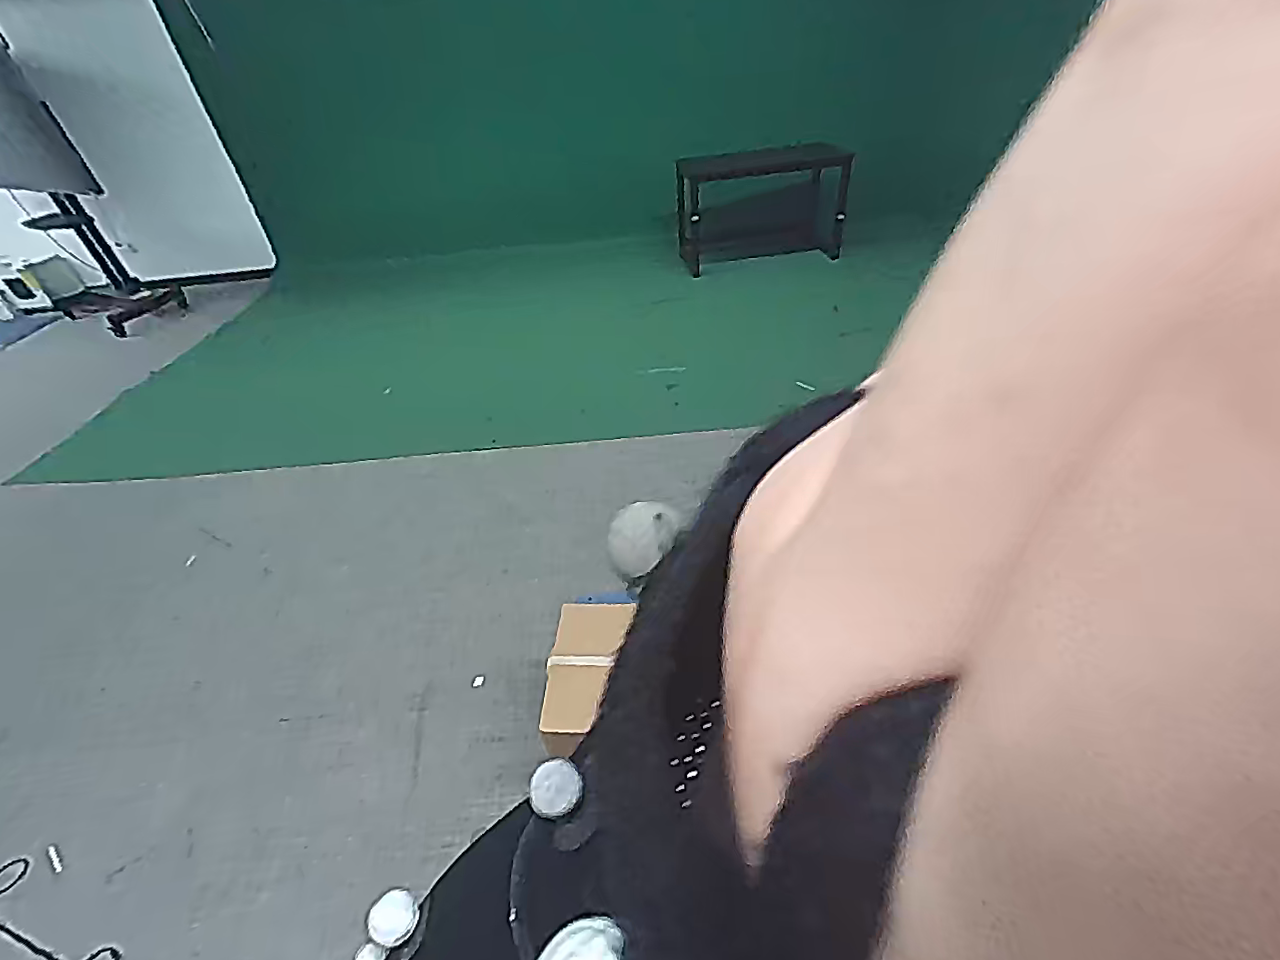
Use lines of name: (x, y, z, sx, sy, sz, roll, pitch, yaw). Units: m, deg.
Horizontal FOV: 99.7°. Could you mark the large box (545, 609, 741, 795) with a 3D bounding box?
large box: (0.014, 0.526, 1.289, 0.408, 0.320, 0.320, 0, 40, 4)
